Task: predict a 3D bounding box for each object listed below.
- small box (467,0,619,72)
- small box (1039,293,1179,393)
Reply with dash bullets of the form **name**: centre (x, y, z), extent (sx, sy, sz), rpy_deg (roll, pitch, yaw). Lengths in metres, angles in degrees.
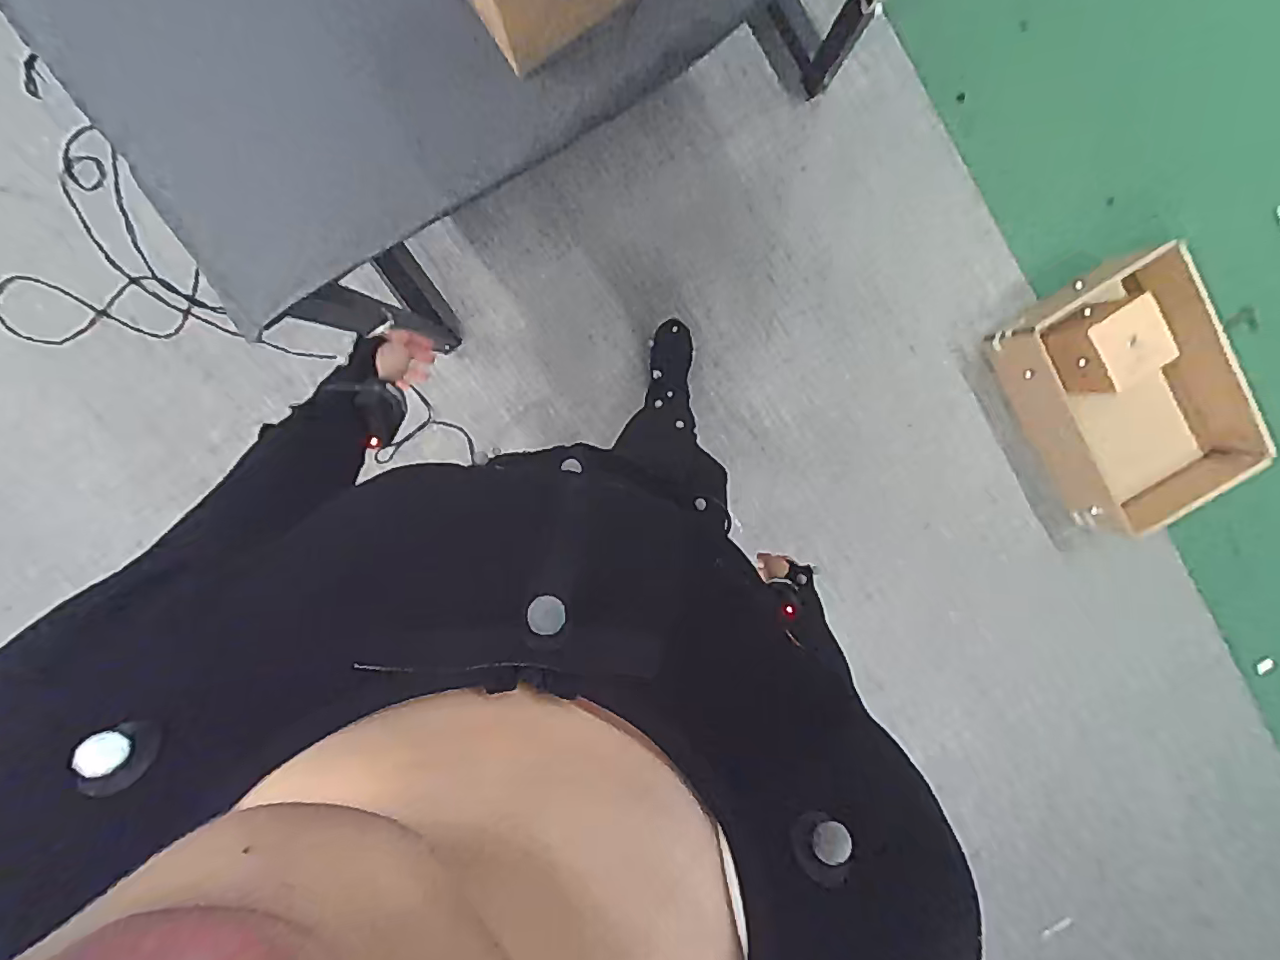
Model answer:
- **small box**: centre (-0.118, -0.582, 0.551), extent (0.179, 0.176, 0.168), rpy_deg (-33, 97, 4)
- **small box**: centre (1.137, -0.326, 1.325), extent (0.168, 0.176, 0.179), rpy_deg (-33, 99, 4)
